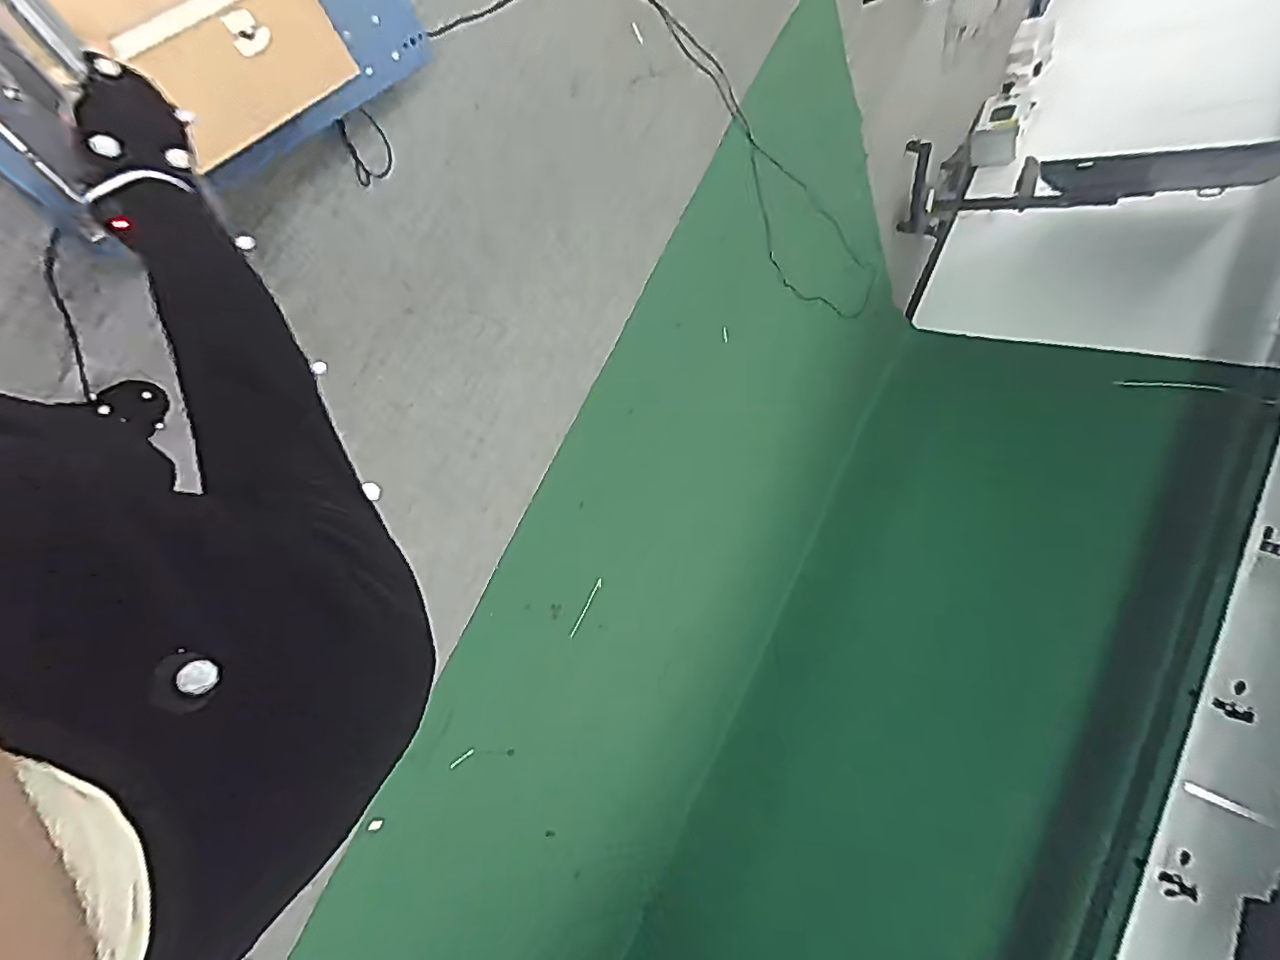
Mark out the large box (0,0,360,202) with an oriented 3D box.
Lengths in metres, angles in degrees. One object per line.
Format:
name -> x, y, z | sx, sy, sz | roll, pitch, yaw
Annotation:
large box -> -0.772, -0.715, 0.878 | 0.408, 0.320, 0.320 | -54, 141, -22
